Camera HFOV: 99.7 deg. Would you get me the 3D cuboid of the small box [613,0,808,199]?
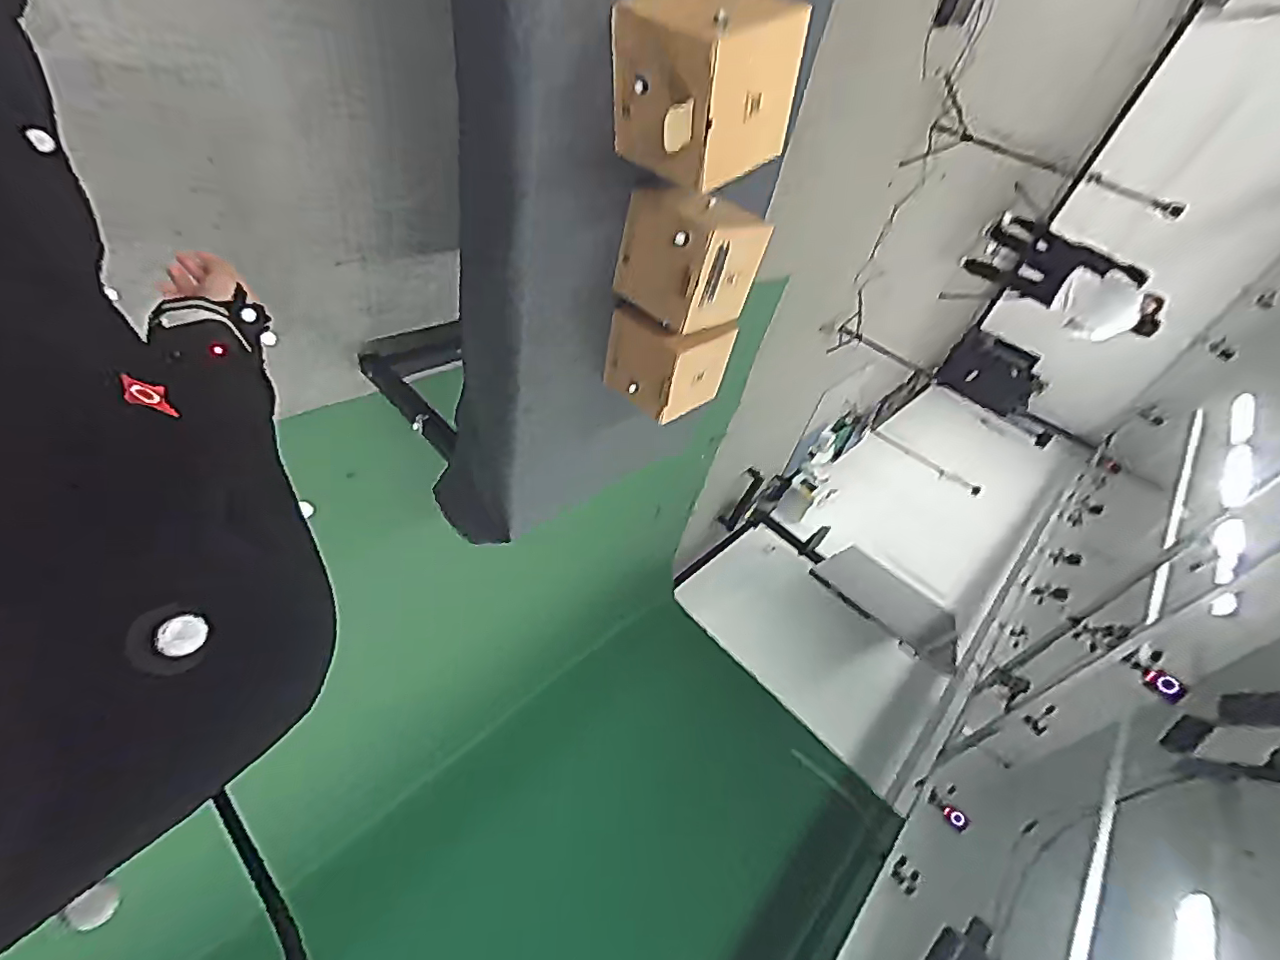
[{"bbox_3d":[0.084,-0.513,0.713,0.179,0.176,0.168,-38,154,-24],"label":"small box"}]
